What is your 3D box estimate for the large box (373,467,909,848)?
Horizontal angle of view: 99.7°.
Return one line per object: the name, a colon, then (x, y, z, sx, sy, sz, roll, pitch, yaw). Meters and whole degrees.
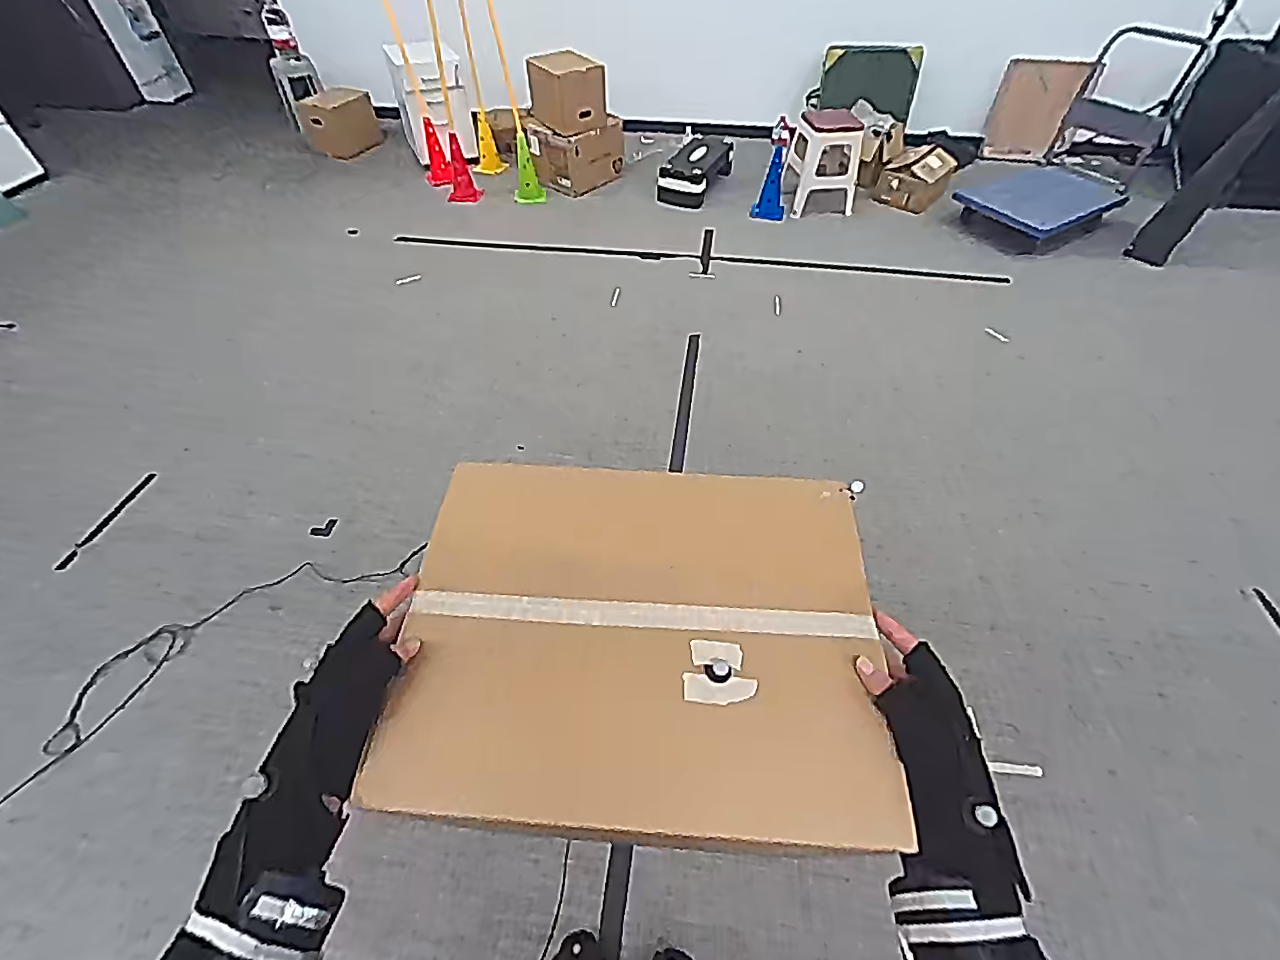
large box: (0.004, 0.206, 0.600, 0.408, 0.320, 0.320, 4, 55, 2)
